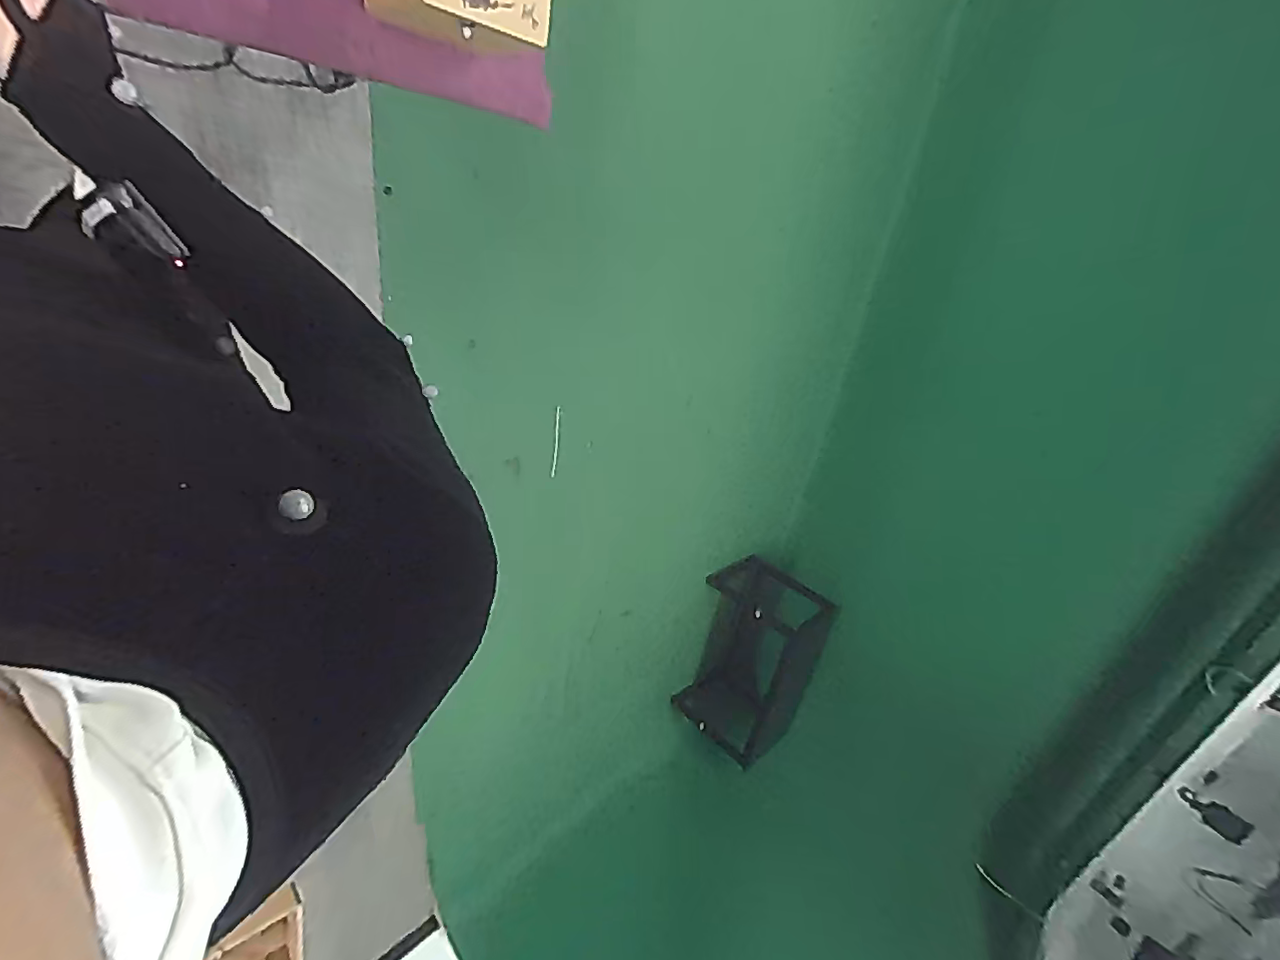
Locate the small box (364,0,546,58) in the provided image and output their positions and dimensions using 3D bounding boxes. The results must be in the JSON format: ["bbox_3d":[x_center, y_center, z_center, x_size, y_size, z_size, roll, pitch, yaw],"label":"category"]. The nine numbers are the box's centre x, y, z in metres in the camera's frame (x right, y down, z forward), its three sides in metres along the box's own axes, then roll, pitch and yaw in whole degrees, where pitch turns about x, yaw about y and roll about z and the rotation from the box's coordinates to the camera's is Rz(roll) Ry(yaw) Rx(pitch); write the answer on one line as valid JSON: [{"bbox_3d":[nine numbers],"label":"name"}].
[{"bbox_3d":[-0.224,-0.637,0.646,0.168,0.176,0.179,-15,126,-40],"label":"small box"}]
